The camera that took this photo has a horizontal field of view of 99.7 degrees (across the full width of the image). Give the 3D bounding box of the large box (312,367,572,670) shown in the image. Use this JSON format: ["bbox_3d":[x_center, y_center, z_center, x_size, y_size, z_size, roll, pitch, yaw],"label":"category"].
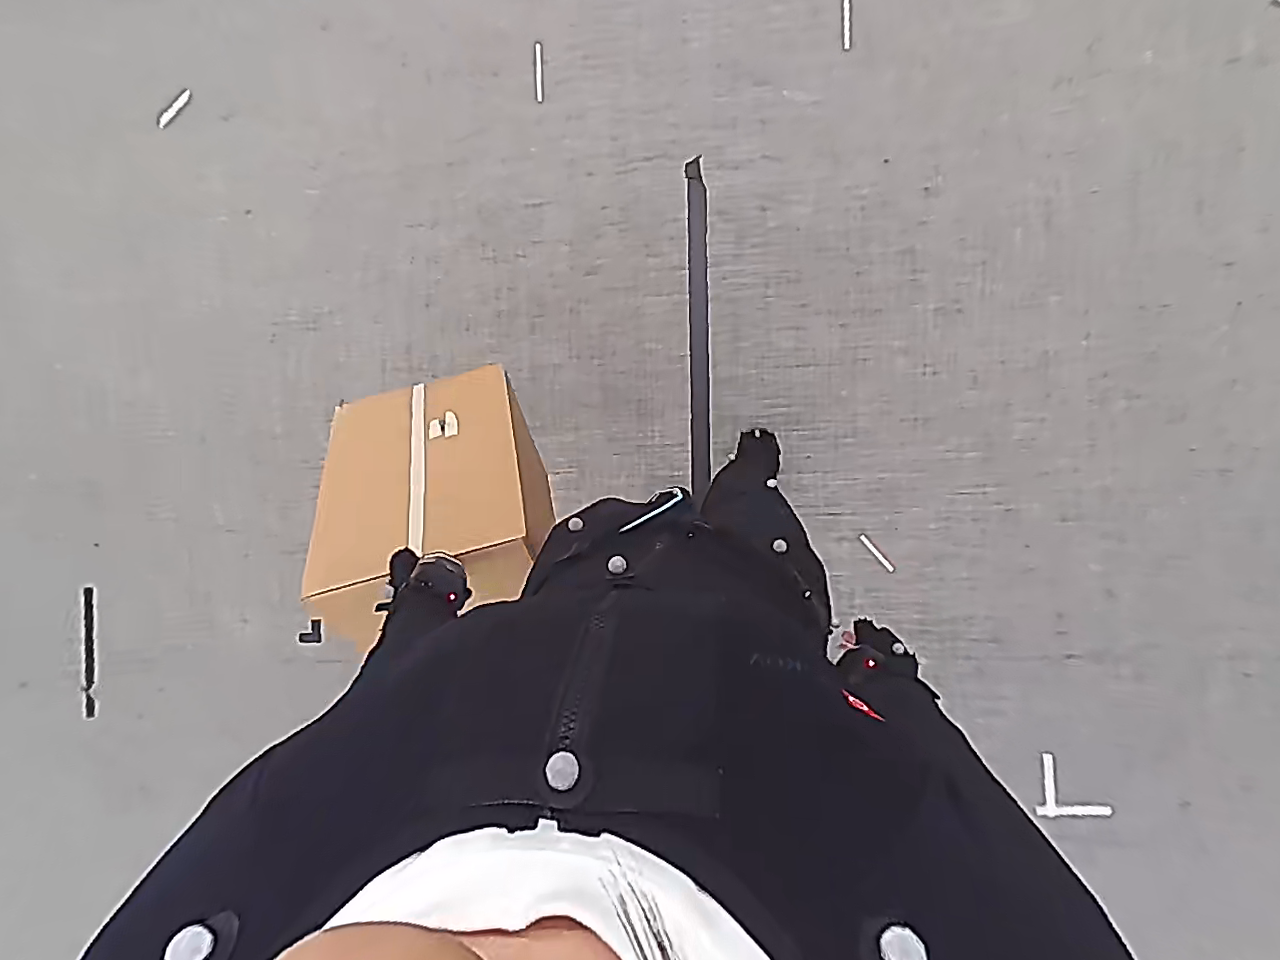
[{"bbox_3d":[-0.334,0.066,0.988,0.320,0.320,0.408,-14,49,-4],"label":"large box"}]
